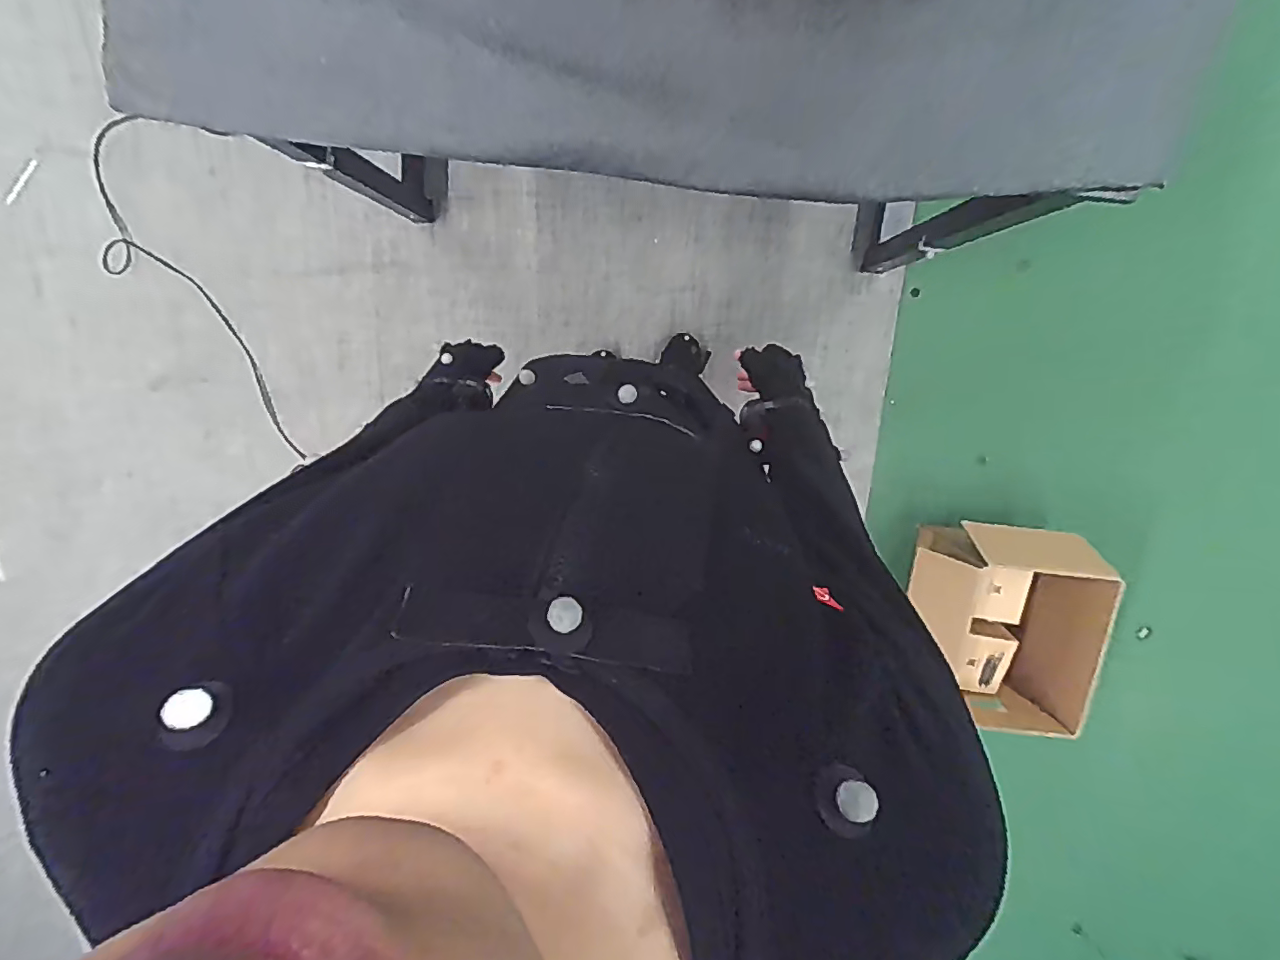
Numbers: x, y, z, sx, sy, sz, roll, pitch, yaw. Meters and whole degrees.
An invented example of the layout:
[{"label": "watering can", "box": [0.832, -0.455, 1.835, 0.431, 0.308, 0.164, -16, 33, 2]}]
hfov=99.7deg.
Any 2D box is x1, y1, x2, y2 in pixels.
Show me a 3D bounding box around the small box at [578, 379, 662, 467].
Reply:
[{"label": "small box", "box": [-0.060, -0.152, 1.404, 0.168, 0.176, 0.179, 11, 104, -17]}]
